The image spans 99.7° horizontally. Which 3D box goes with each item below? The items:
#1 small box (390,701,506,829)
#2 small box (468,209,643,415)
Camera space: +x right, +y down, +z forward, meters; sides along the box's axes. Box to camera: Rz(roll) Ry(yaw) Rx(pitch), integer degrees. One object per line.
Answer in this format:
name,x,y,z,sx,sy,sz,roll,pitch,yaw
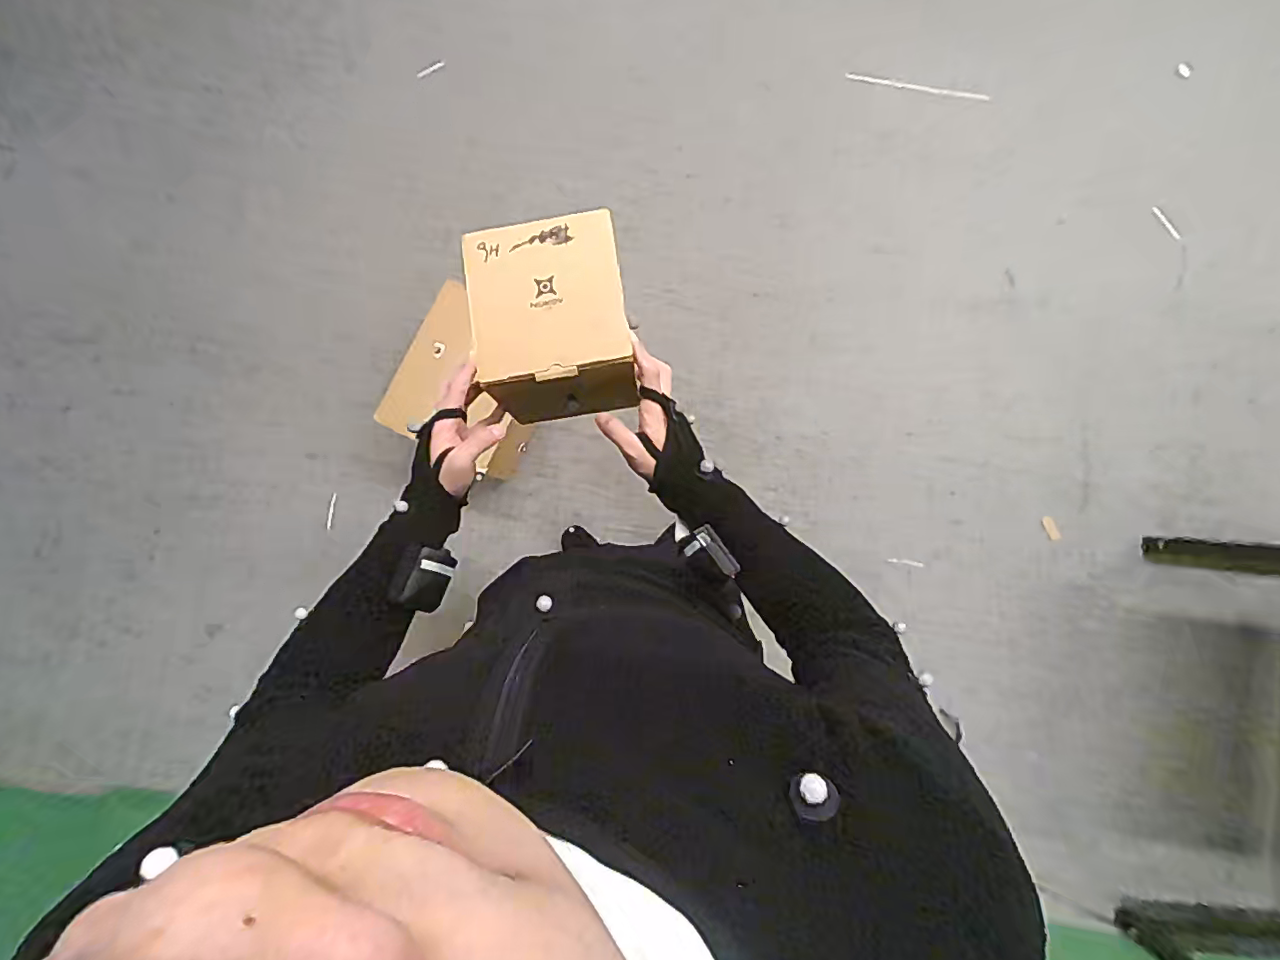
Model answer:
small box,-0.418,0.618,1.205,0.168,0.176,0.179,-25,88,-4
small box,-0.090,-0.183,0.645,0.168,0.176,0.179,-9,82,1
